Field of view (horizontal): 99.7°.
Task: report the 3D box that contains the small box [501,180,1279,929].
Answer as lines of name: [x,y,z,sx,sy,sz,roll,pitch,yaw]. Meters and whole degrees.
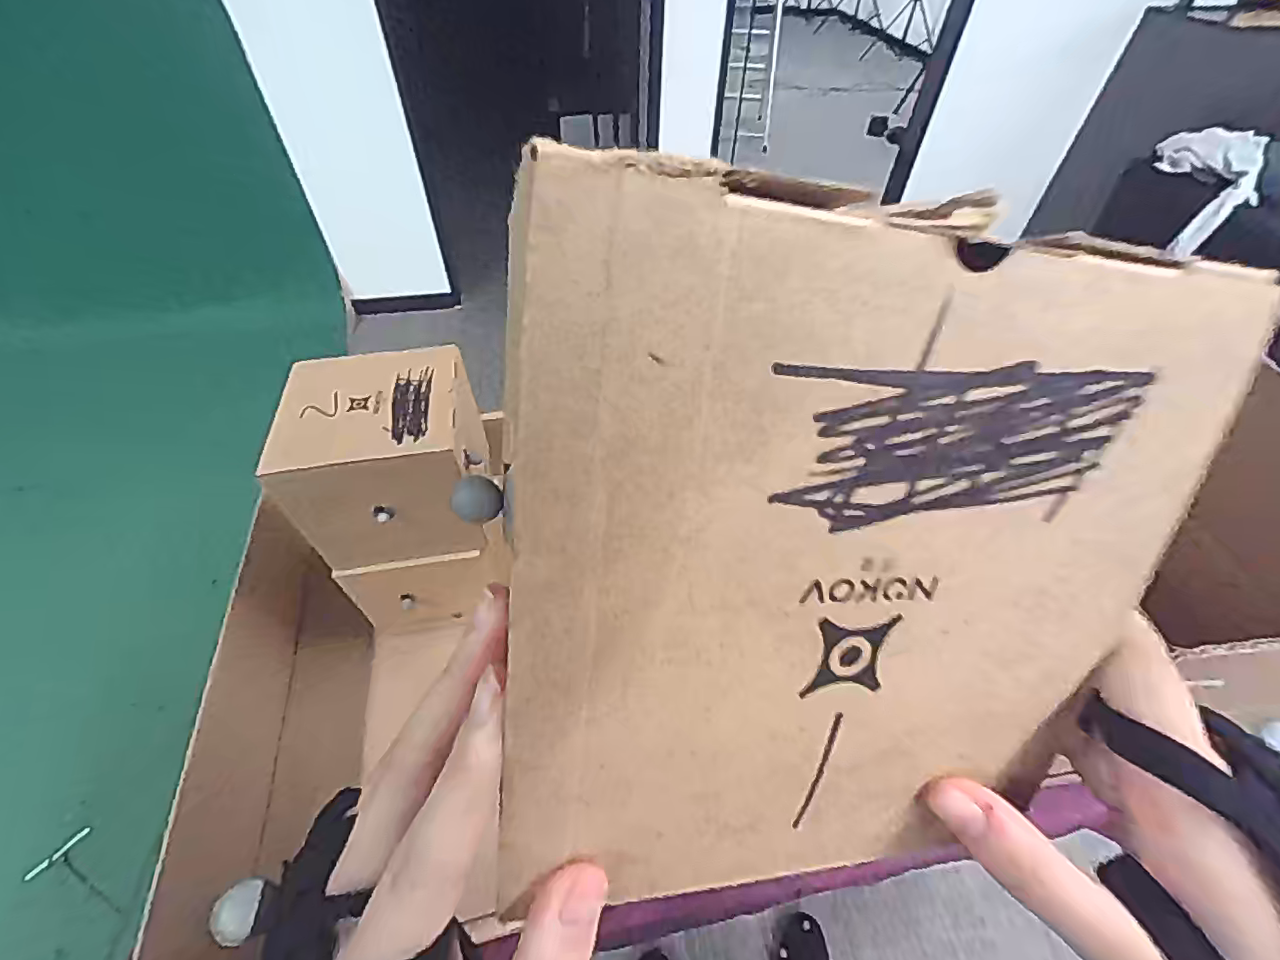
small box: [0.035,0.007,0.201,0.168,0.179,0.176,1,23,-14]

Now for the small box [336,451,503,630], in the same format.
small box: [-0.278,0.088,0.731,0.168,0.176,0.179,-8,51,-6]
